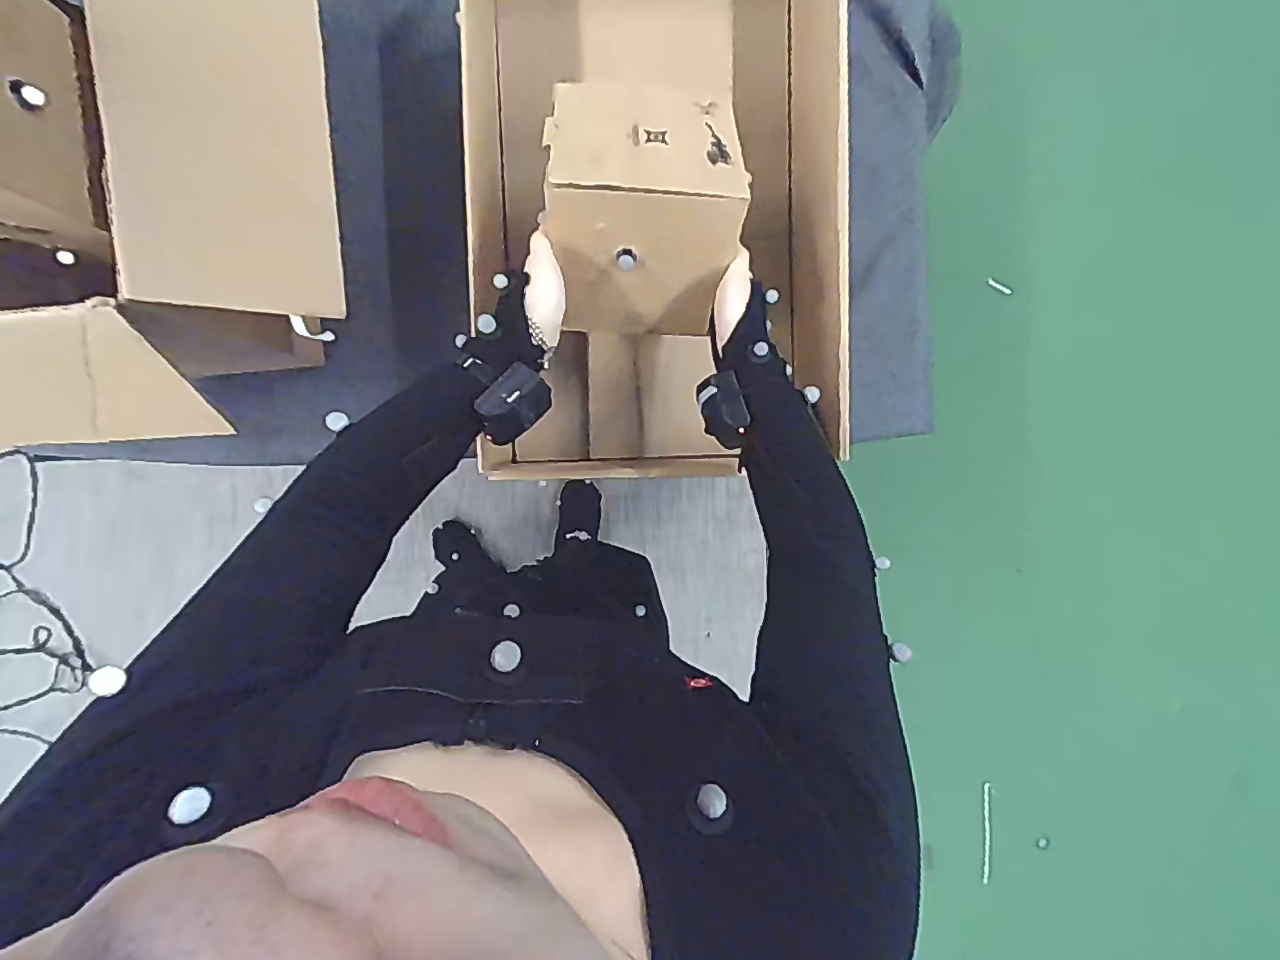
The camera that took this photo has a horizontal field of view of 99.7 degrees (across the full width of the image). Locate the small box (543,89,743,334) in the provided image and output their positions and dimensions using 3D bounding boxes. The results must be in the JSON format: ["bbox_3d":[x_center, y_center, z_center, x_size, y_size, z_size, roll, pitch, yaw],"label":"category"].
[{"bbox_3d":[-0.004,-0.273,0.570,0.179,0.176,0.168,1,61,-6],"label":"small box"}]

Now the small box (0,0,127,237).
[{"bbox_3d":[-0.571,-0.319,0.435,0.168,0.176,0.179,0,96,-5],"label":"small box"}]
